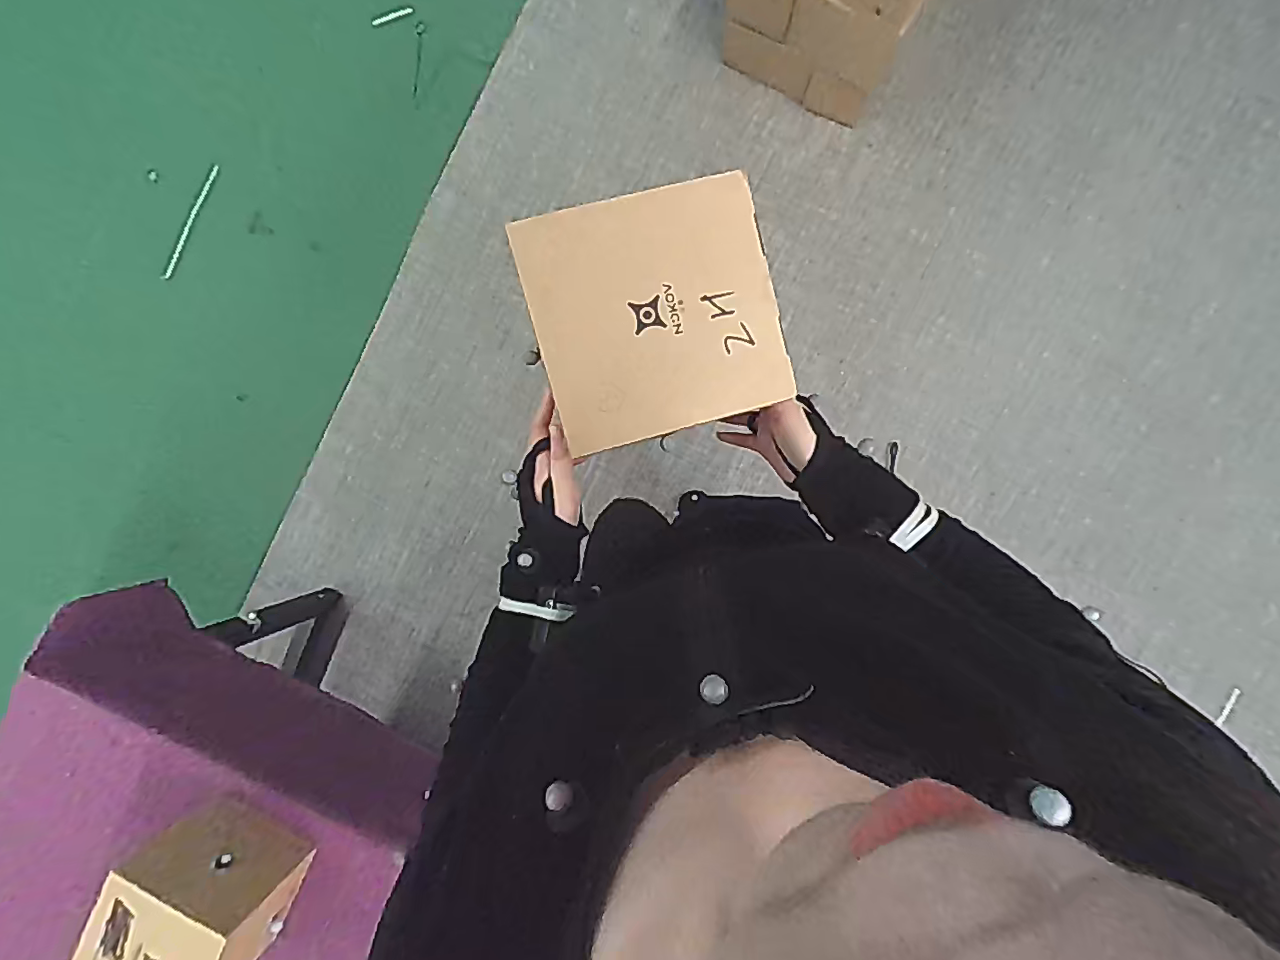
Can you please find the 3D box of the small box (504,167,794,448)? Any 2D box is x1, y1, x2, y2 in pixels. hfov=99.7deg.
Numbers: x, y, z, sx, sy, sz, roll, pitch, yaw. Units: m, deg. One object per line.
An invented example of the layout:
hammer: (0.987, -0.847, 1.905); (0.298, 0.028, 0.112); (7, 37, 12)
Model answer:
small box: (0.001, -0.126, 0.456); (0.179, 0.176, 0.168); (-15, 97, -6)

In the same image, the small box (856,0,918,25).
small box: (0.520, -1.062, 1.061); (0.168, 0.176, 0.179); (33, 91, 2)

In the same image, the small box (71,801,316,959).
small box: (-0.603, 0.587, 0.746); (0.179, 0.176, 0.168); (26, 93, 3)
